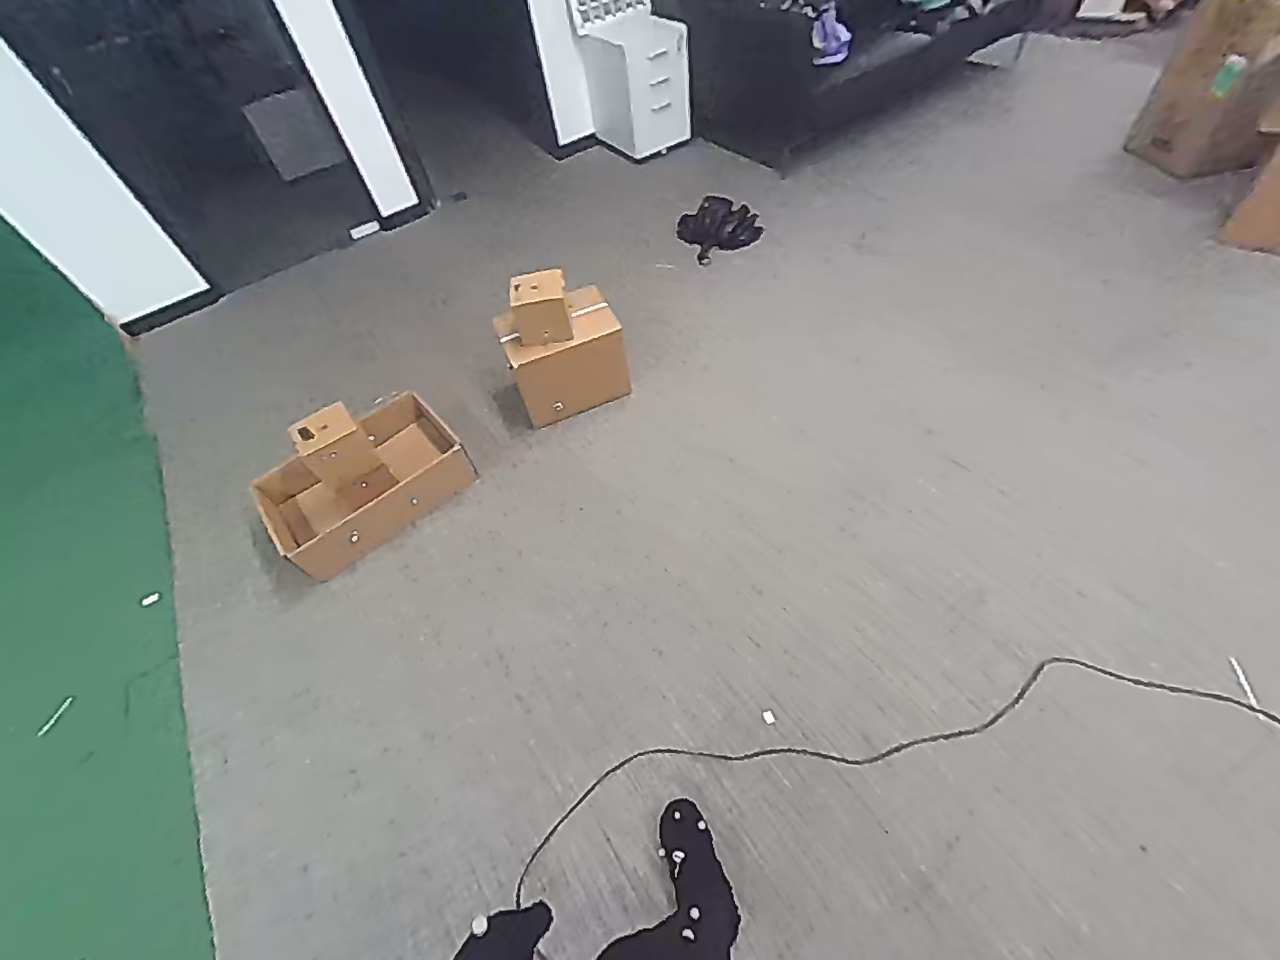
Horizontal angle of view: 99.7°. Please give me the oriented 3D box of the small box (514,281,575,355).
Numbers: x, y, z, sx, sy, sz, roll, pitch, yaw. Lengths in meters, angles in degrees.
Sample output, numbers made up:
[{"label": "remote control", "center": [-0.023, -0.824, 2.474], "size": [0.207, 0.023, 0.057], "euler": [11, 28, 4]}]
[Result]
[{"label": "small box", "center": [-0.321, -0.550, 1.847], "size": [0.179, 0.176, 0.168], "euler": [-9, 52, 0]}]

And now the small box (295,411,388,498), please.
[{"label": "small box", "center": [-0.935, -0.077, 1.700], "size": [0.179, 0.176, 0.168], "euler": [-33, 55, -18]}]

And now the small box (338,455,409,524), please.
[{"label": "small box", "center": [-0.924, 0.019, 1.835], "size": [0.179, 0.176, 0.168], "euler": [-36, 56, -20]}]
